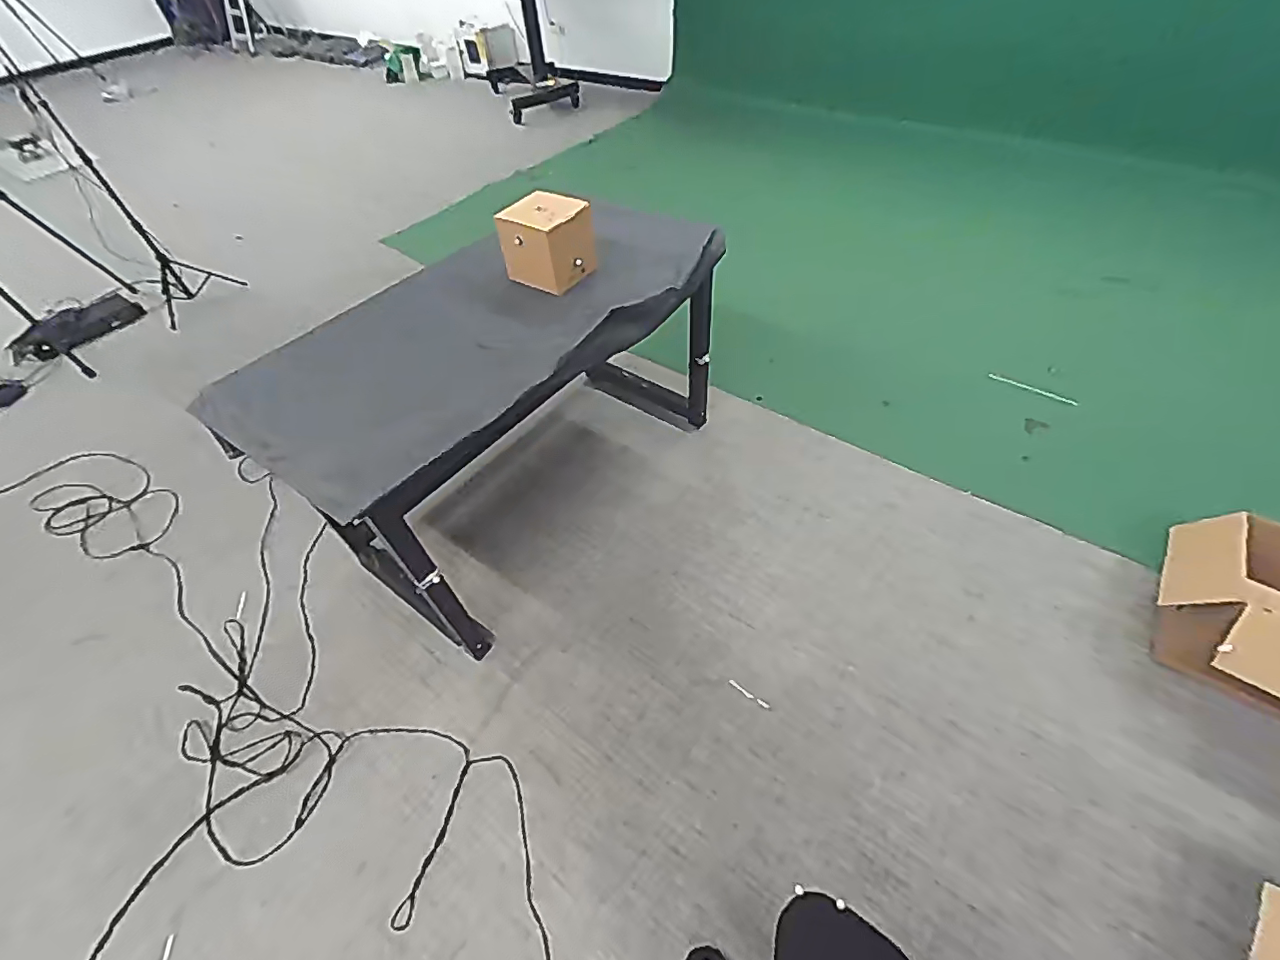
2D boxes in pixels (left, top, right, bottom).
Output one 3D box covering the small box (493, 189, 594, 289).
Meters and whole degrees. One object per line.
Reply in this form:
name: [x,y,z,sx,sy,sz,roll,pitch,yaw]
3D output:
small box: [-0.238,-0.611,1.376,0.179,0.176,0.168,26,57,23]
